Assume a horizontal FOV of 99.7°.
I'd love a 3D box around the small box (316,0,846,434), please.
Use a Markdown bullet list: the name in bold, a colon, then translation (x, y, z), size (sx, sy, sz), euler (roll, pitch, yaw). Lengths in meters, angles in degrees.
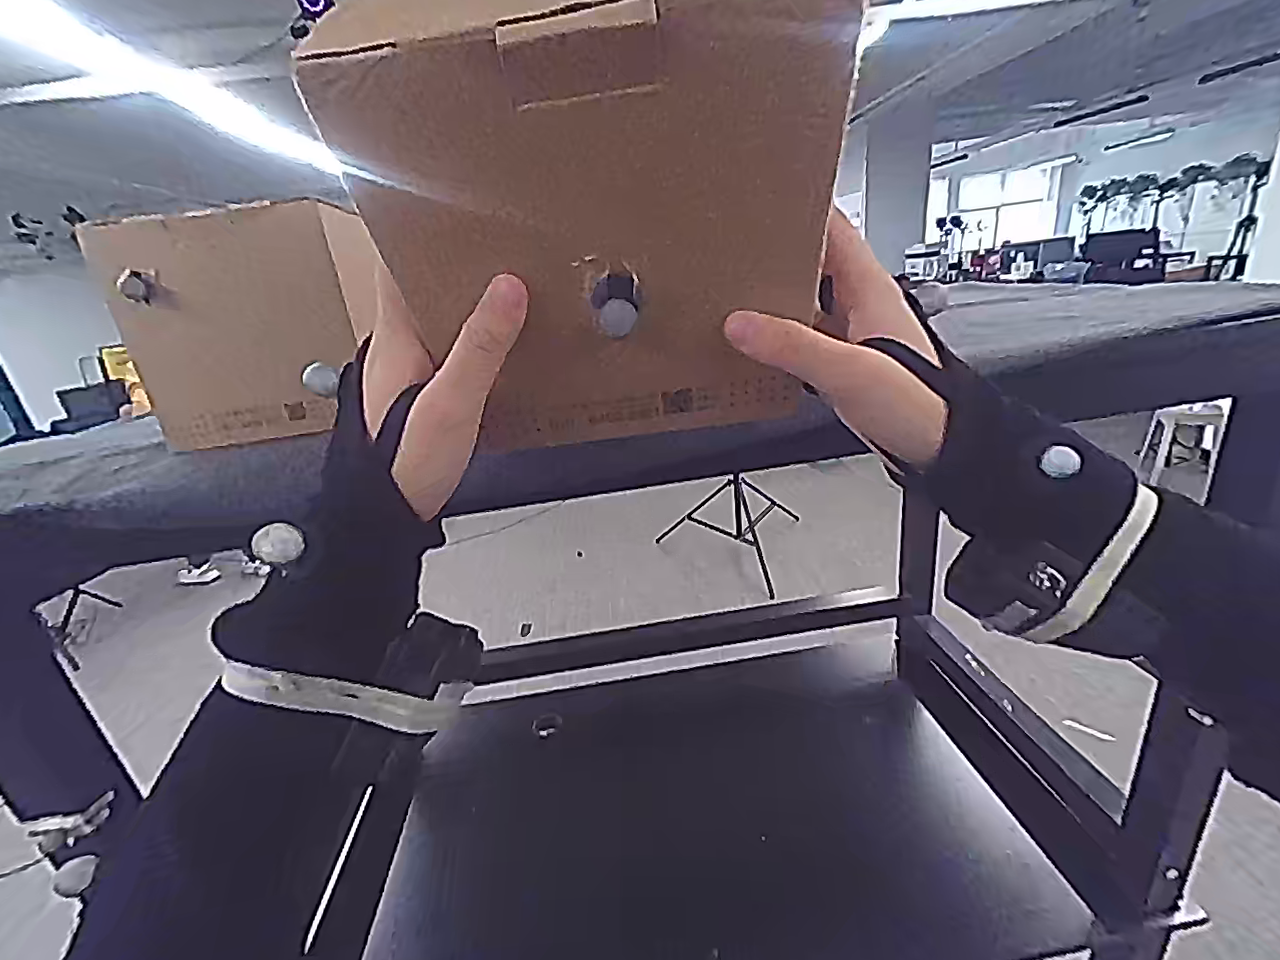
- **small box**: translation (-0.017, -0.137, 0.274), size (0.168, 0.176, 0.179), euler (-6, 51, 1)
